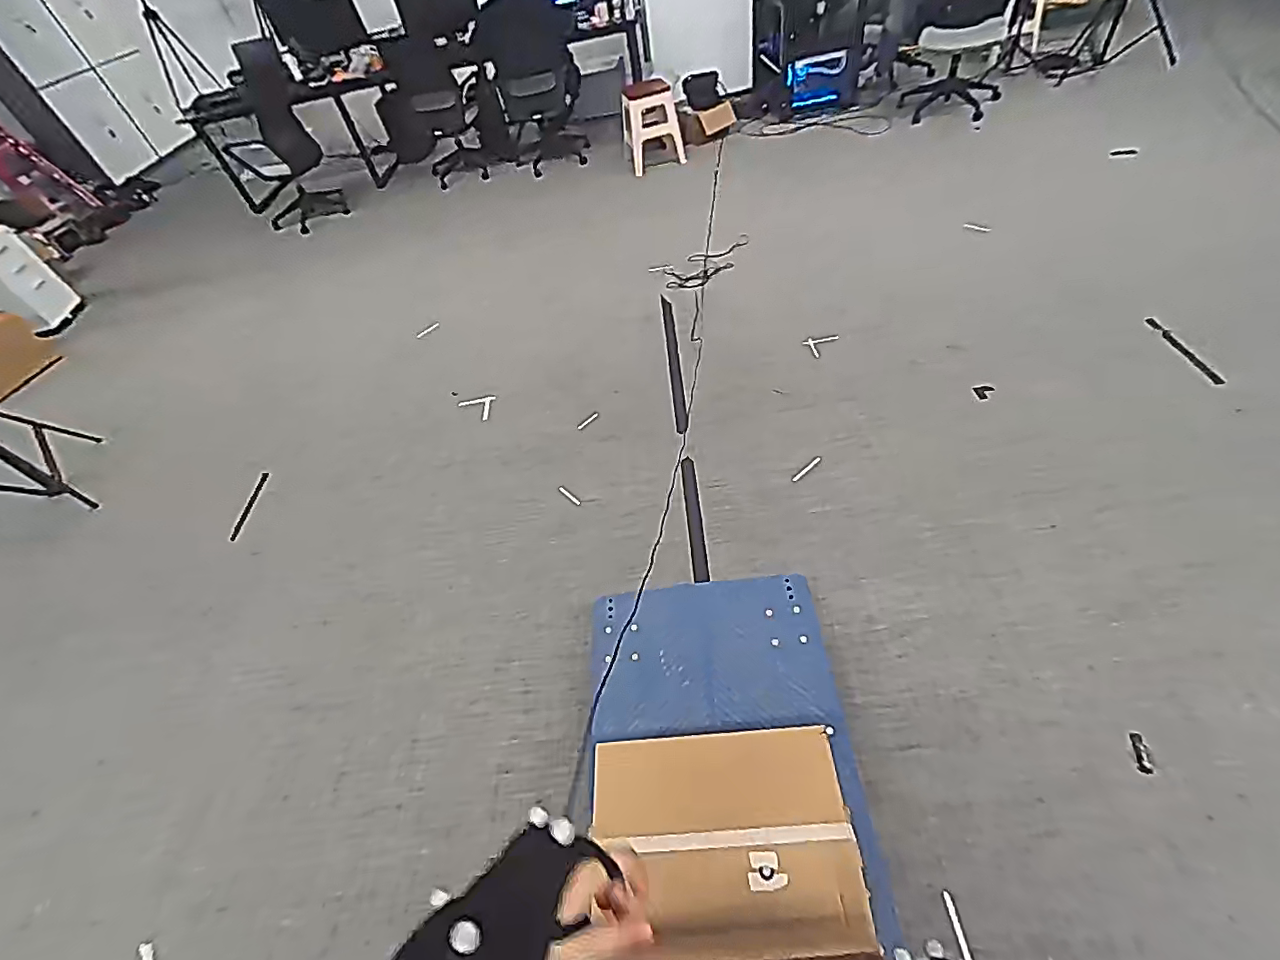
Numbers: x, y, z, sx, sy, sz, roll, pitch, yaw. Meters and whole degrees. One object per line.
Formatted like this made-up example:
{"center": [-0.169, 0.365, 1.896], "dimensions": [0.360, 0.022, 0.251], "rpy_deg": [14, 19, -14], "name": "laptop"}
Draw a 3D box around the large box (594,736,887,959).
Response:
{"center": [0.148, 0.669, 0.927], "dimensions": [0.408, 0.320, 0.320], "rpy_deg": [-7, 48, 5], "name": "large box"}
